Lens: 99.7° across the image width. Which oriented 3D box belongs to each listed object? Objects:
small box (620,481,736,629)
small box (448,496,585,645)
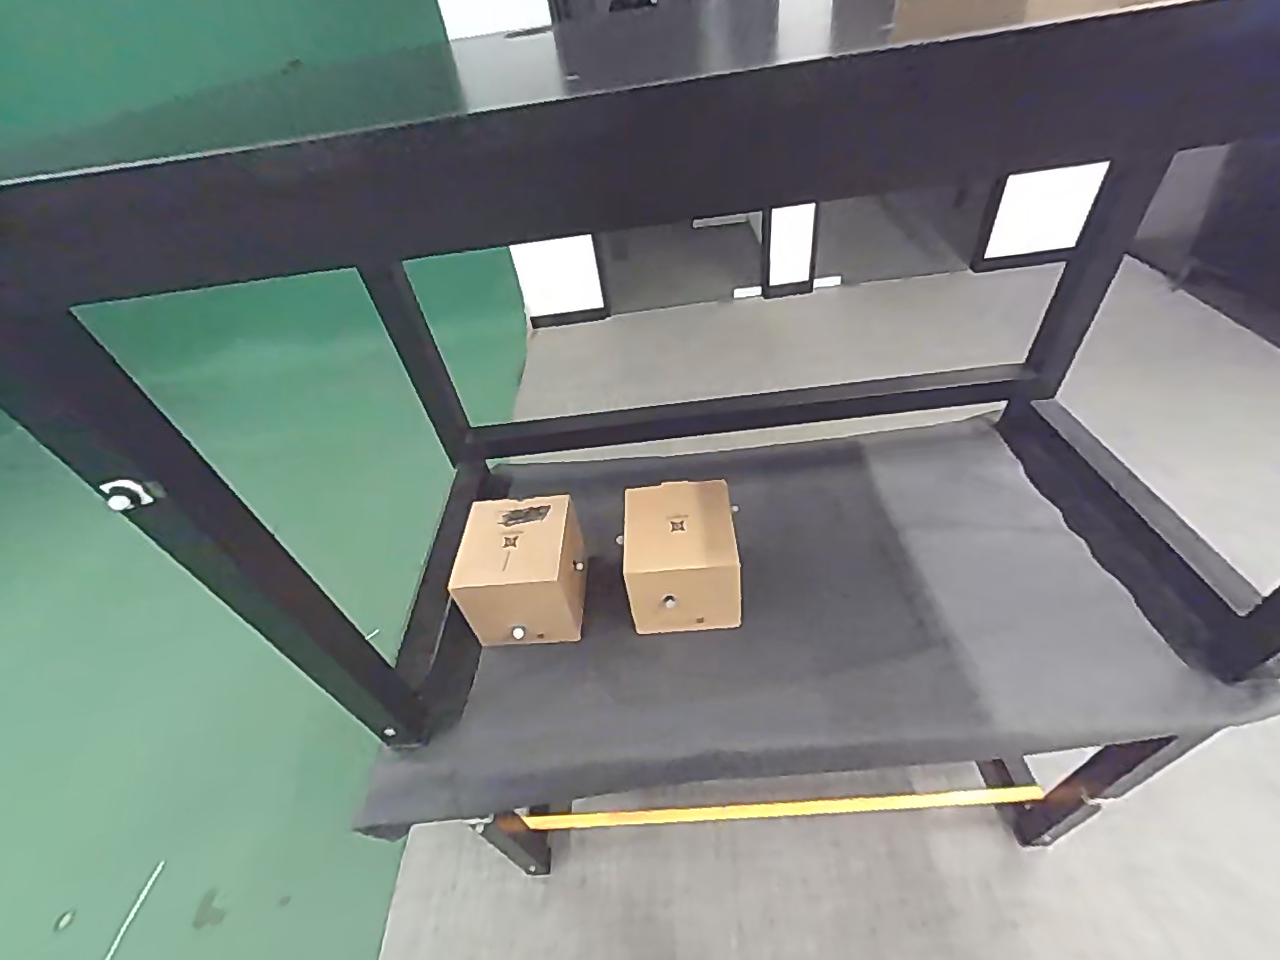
[{"bbox_3d":[0.063,0.126,0.872,0.168,0.176,0.179,-5,43,4],"label":"small box"},{"bbox_3d":[-0.189,0.149,0.889,0.168,0.176,0.179,-5,44,5],"label":"small box"}]
